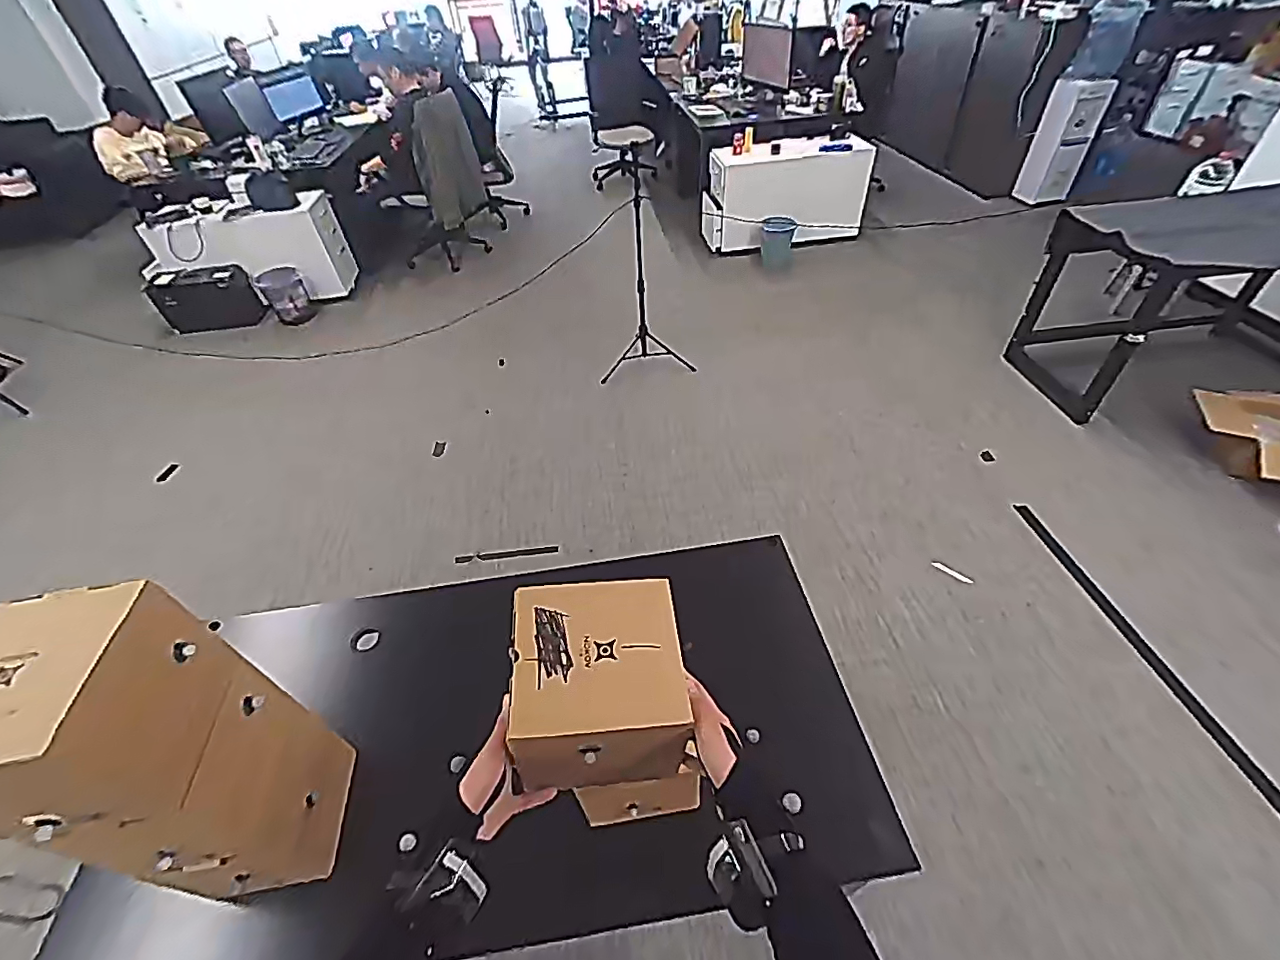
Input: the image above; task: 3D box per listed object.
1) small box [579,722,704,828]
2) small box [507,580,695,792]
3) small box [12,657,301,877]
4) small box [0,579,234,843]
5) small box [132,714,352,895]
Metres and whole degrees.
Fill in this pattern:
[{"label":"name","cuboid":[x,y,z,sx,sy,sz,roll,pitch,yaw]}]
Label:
[{"label":"small box","cuboid":[-0.006,0.384,0.801,0.168,0.176,0.179,-8,45,-3]},{"label":"small box","cuboid":[-0.045,0.231,0.604,0.179,0.176,0.168,-2,46,-7]},{"label":"small box","cuboid":[-0.546,0.344,0.651,0.168,0.176,0.179,-9,44,-4]},{"label":"small box","cuboid":[-0.554,0.228,0.537,0.168,0.176,0.179,-10,45,-3]},{"label":"small box","cuboid":[-0.536,0.463,0.765,0.168,0.176,0.179,-9,45,-5]}]
